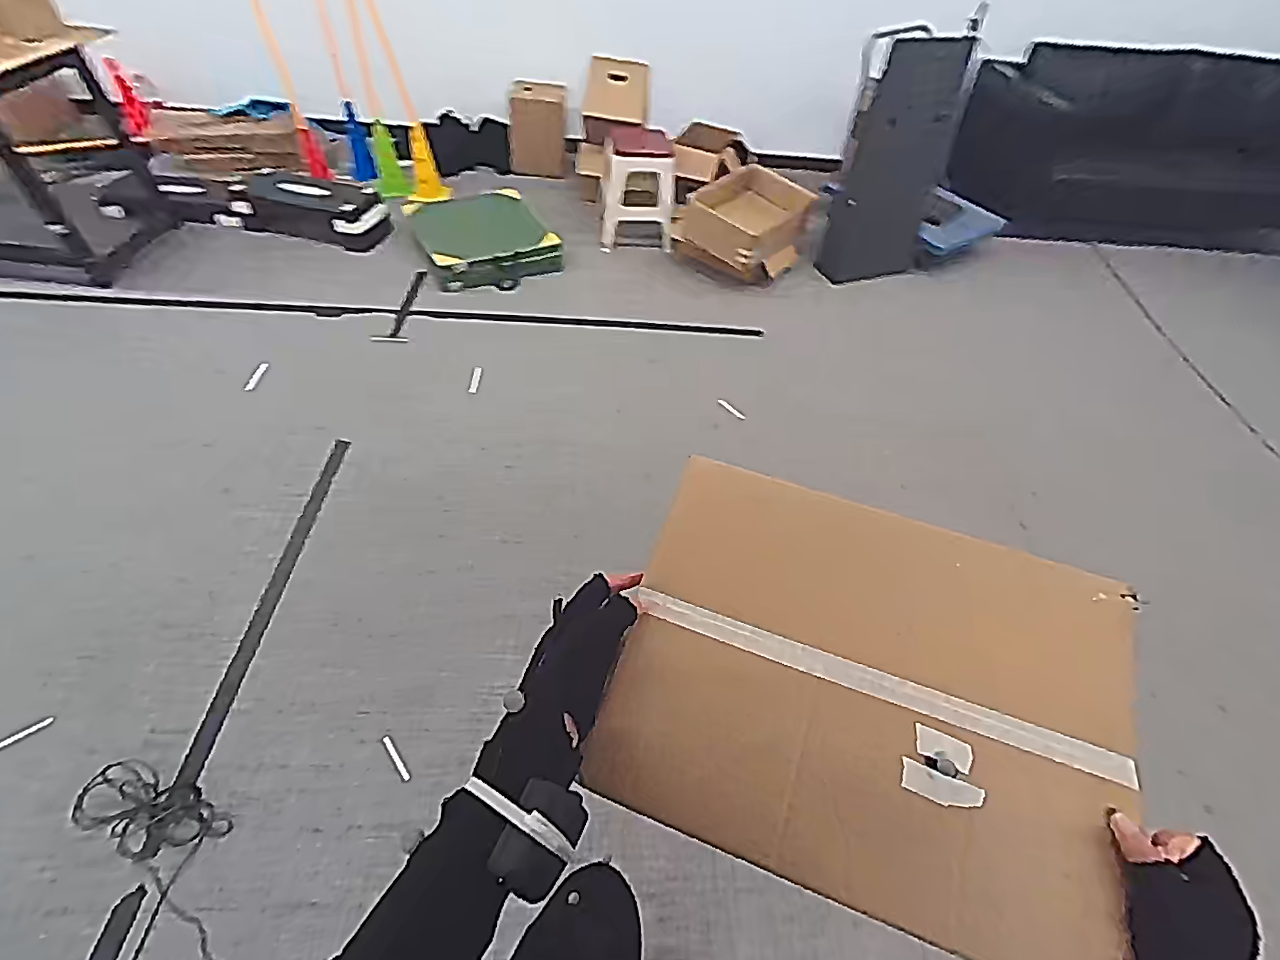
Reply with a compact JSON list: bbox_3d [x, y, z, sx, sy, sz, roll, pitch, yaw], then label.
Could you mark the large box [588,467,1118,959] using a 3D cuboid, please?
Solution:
[{"bbox_3d":[0.196,0.233,0.600,0.408,0.320,0.320,18,67,11],"label":"large box"}]
